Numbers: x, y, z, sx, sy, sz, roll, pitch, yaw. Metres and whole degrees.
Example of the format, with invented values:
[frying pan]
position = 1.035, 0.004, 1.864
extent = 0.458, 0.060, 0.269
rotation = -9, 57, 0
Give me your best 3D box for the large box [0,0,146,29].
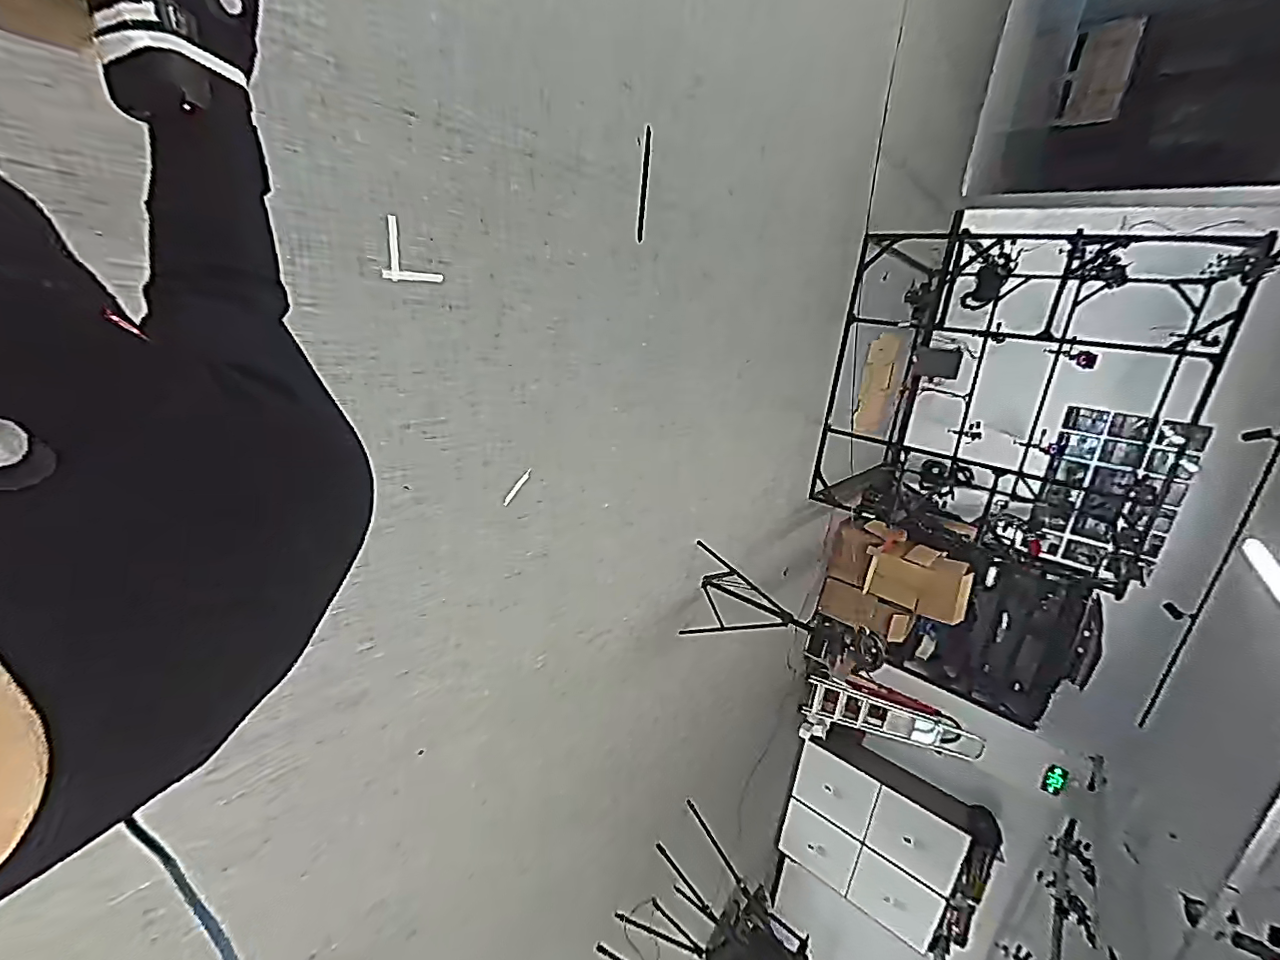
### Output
[large box]
position = -0.550, -0.493, 0.253
extent = 0.408, 0.320, 0.320
rotation = -15, 125, -50
